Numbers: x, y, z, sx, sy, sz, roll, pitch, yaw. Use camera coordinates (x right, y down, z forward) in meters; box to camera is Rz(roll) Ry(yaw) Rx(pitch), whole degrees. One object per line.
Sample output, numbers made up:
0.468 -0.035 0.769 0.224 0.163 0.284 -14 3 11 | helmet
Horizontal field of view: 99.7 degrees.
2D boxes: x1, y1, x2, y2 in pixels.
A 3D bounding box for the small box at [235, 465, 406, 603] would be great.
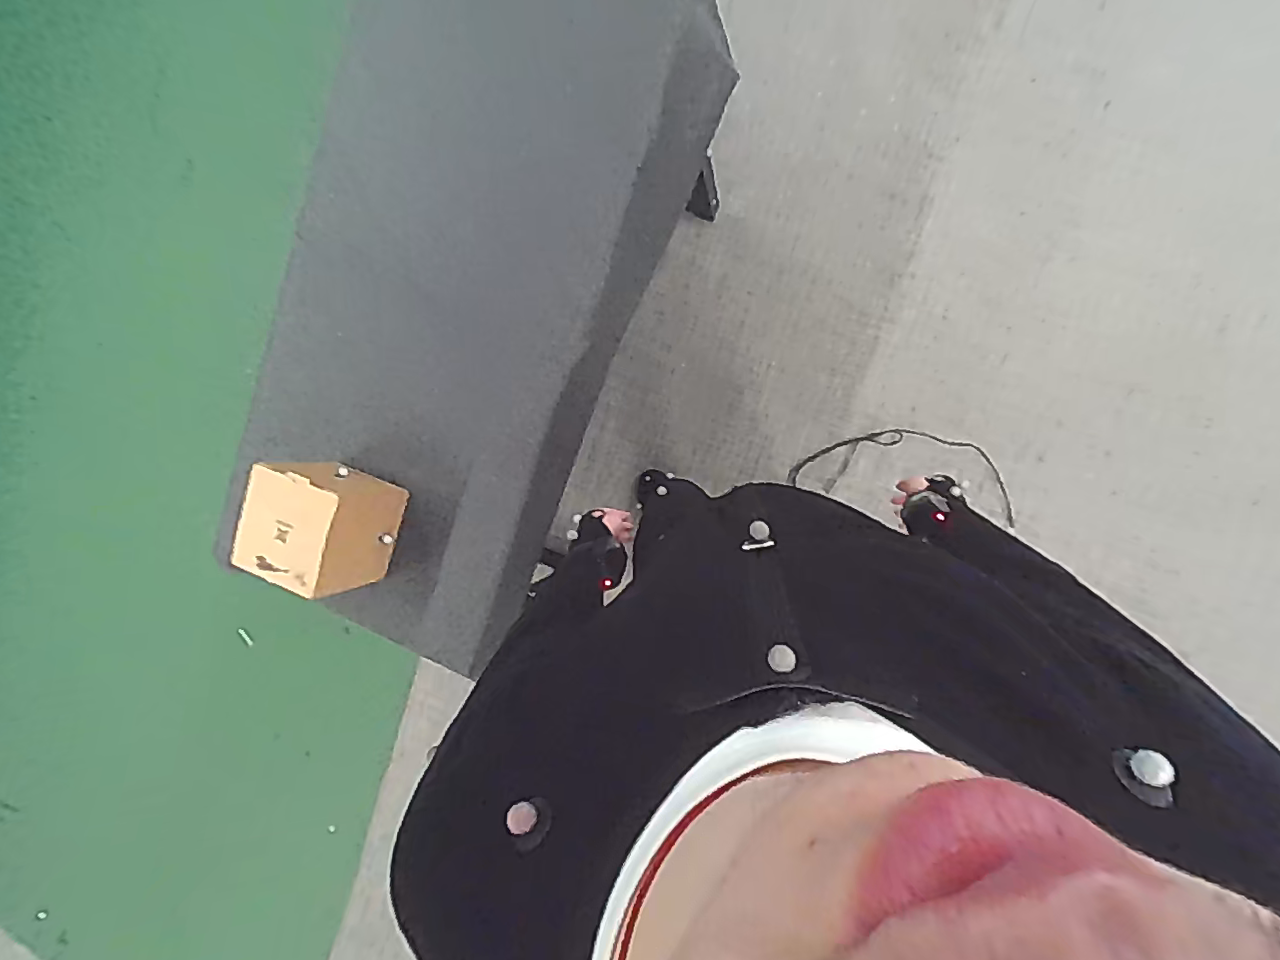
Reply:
-0.536 0.084 0.929 0.168 0.176 0.179 19 94 12 | small box
